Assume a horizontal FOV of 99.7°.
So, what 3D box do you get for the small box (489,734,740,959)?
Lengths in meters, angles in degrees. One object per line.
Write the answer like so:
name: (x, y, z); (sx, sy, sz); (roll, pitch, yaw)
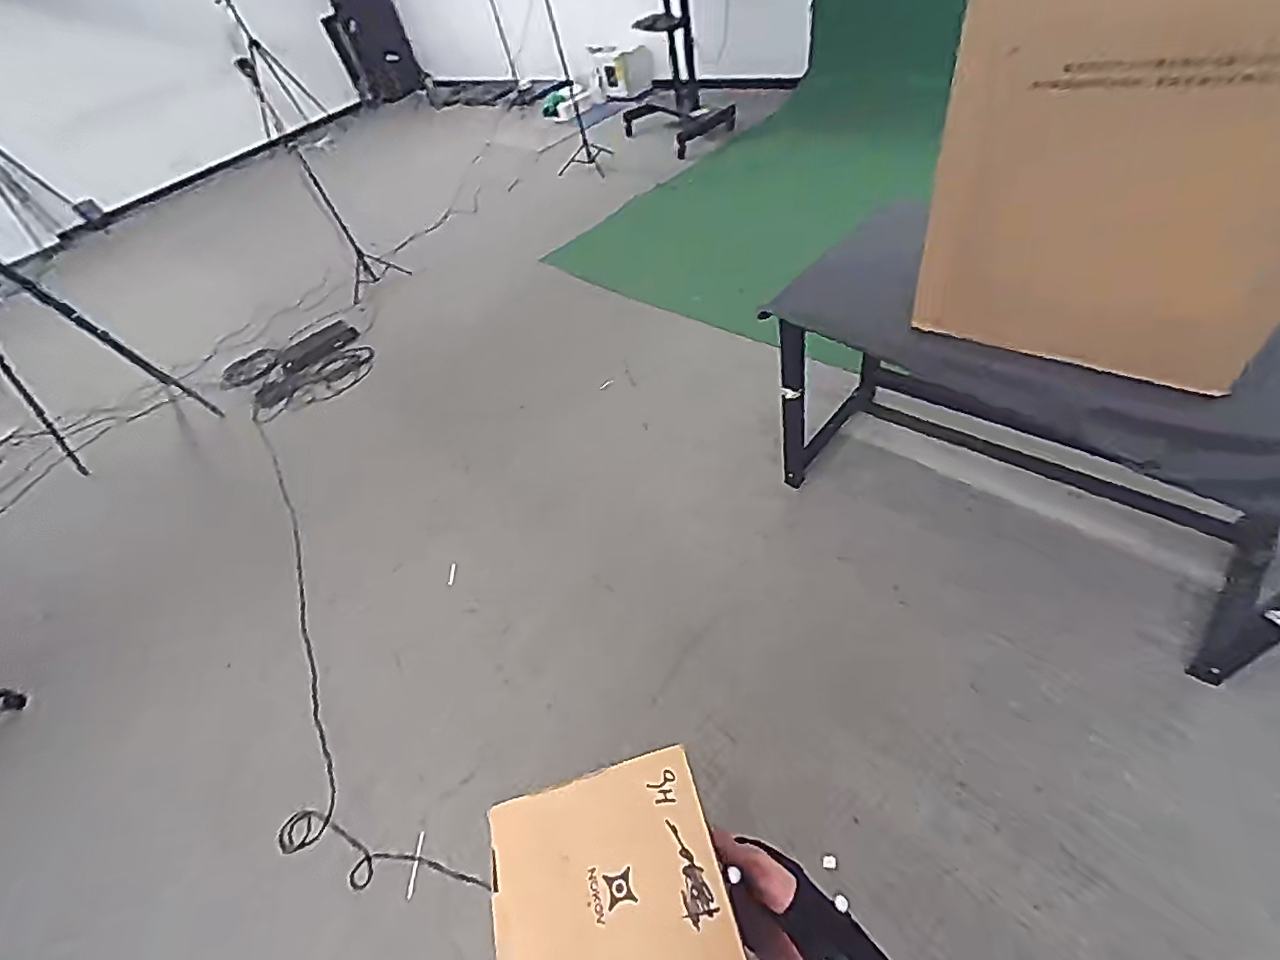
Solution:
small box: (-0.017, 0.349, 0.487); (0.179, 0.176, 0.168); (-16, 57, -2)
